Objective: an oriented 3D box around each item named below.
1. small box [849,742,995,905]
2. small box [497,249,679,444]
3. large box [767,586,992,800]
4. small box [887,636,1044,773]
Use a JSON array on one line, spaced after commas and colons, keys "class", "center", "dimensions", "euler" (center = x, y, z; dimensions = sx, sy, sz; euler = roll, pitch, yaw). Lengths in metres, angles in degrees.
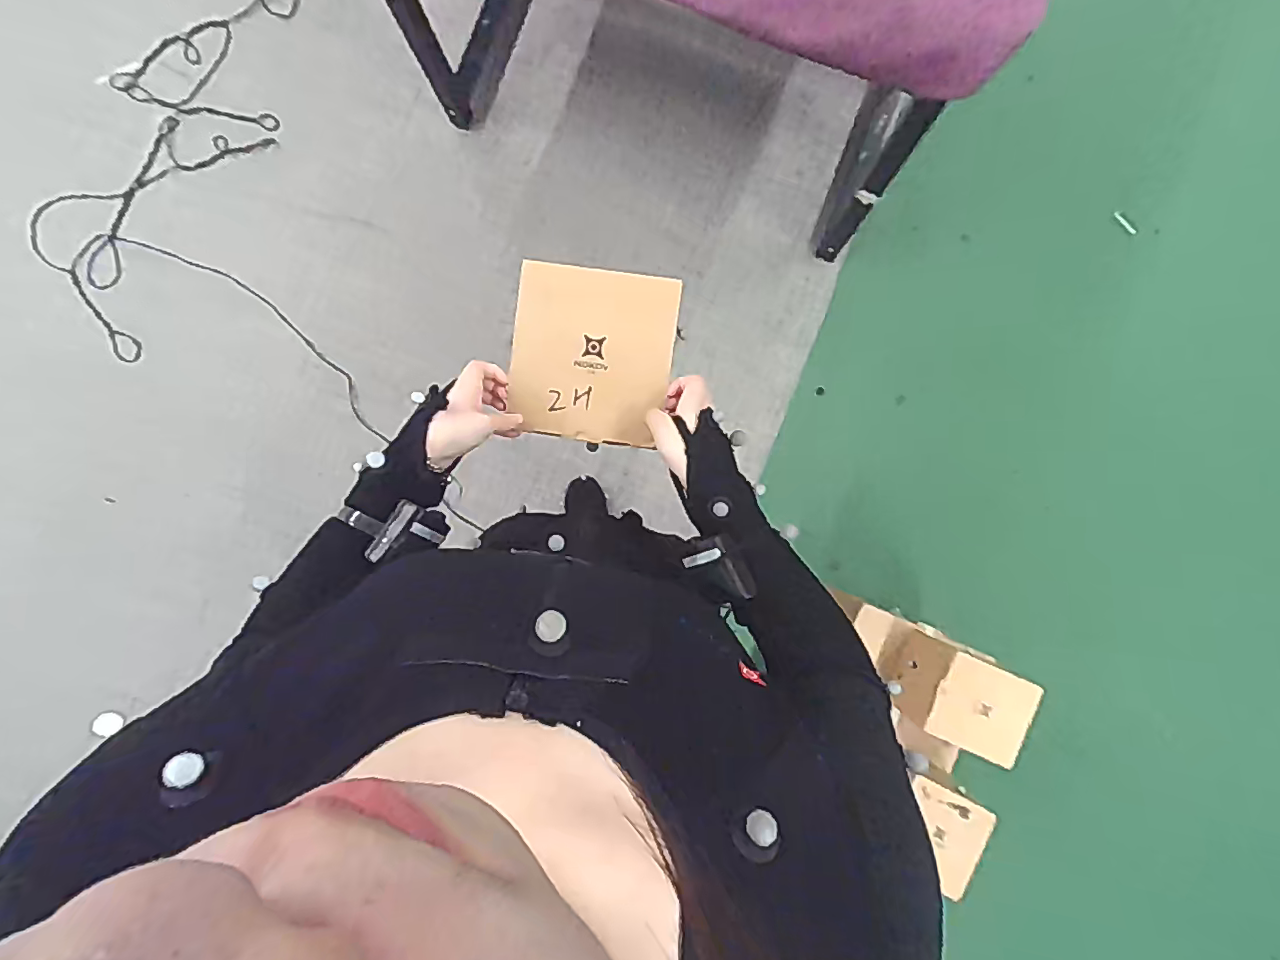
[{"class": "small box", "center": [0.538, 0.662, 1.063], "dimensions": [0.168, 0.176, 0.179], "euler": [28, 88, 2]}, {"class": "small box", "center": [-0.052, -0.141, 0.621], "dimensions": [0.168, 0.176, 0.179], "euler": [8, 96, 2]}, {"class": "large box", "center": [0.551, 0.519, 1.314], "dimensions": [0.320, 0.320, 0.408], "euler": [23, 89, 3]}, {"class": "small box", "center": [0.633, 0.431, 1.073], "dimensions": [0.179, 0.176, 0.168], "euler": [24, 89, 2]}]
